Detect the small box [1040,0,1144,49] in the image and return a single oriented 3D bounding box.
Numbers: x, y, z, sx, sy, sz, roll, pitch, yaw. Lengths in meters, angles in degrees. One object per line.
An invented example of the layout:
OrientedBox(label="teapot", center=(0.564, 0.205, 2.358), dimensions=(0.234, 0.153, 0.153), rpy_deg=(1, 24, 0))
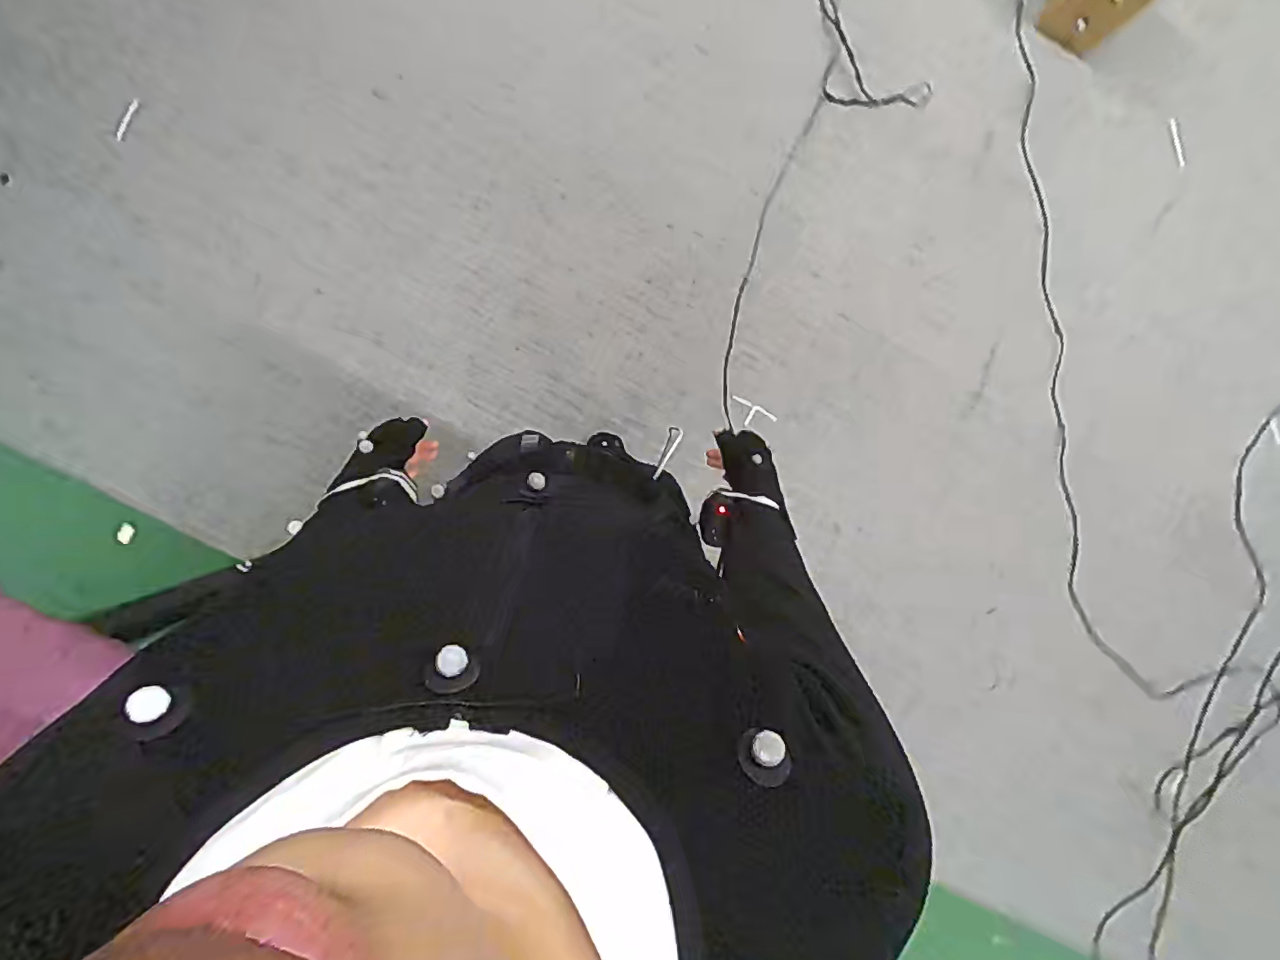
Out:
OrientedBox(label="small box", center=(1.180, -1.271, 1.384), dimensions=(0.168, 0.176, 0.179), rpy_deg=(26, 94, -9))
